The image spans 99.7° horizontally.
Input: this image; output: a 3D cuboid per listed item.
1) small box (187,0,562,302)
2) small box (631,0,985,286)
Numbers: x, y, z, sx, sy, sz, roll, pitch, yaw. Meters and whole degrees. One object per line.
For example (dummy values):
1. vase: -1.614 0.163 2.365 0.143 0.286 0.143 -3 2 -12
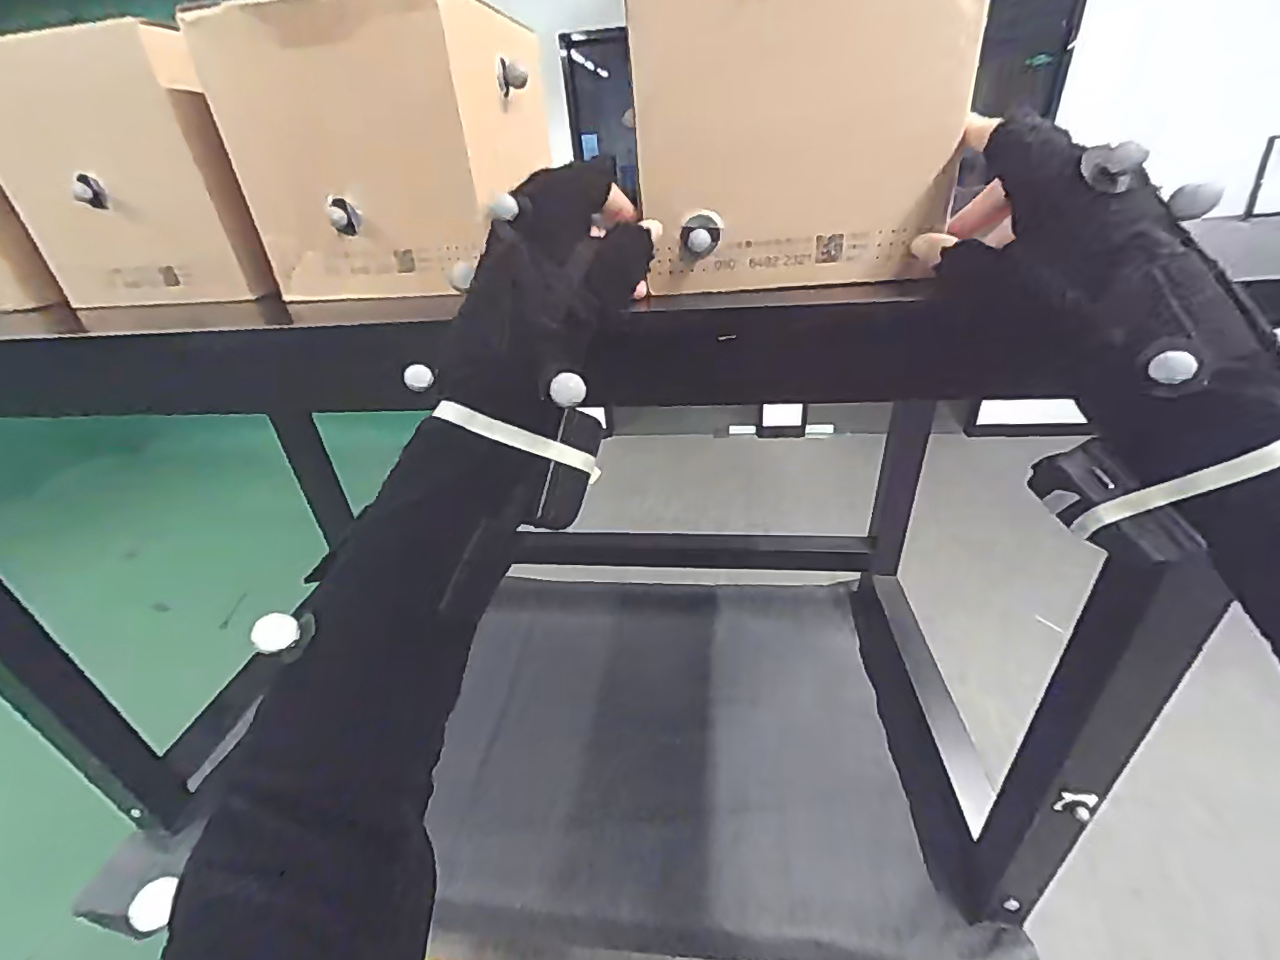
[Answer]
1. small box: -0.163 -0.238 0.405 0.168 0.176 0.179 1 32 9
2. small box: 0.091 -0.222 0.339 0.168 0.176 0.179 -1 30 7
